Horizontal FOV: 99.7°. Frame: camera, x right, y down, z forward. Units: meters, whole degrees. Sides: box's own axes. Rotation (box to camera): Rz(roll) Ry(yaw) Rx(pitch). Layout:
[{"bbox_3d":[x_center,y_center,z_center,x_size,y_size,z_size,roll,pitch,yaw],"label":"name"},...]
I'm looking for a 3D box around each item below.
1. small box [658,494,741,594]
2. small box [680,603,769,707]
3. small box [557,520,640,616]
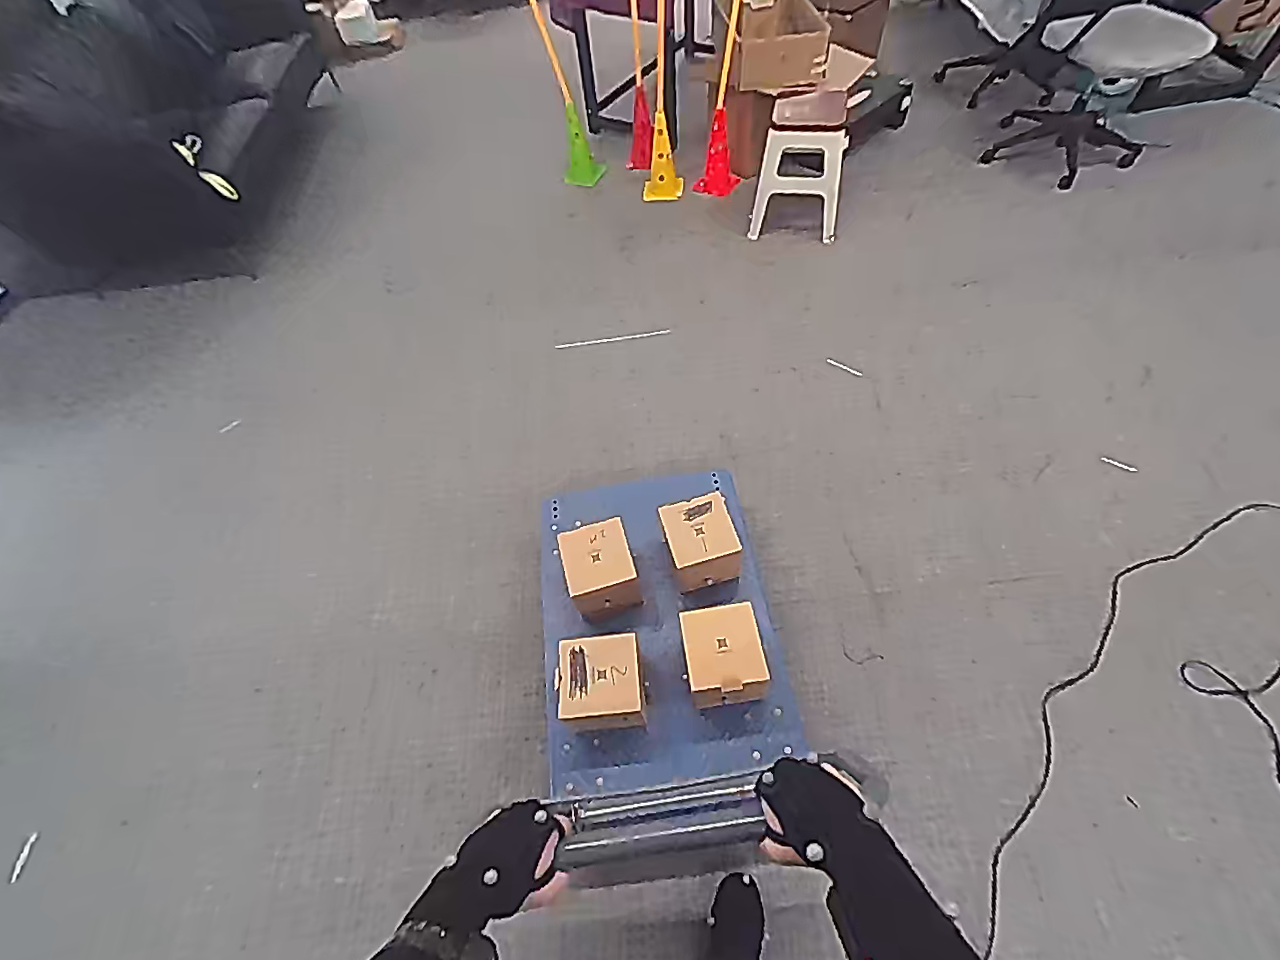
[{"bbox_3d":[0.150,0.167,1.393,0.168,0.176,0.179,-16,57,-3],"label":"small box"},{"bbox_3d":[0.185,0.403,1.235,0.168,0.176,0.179,-10,57,1],"label":"small box"},{"bbox_3d":[-0.102,0.232,1.380,0.168,0.176,0.179,-15,57,-5],"label":"small box"}]
